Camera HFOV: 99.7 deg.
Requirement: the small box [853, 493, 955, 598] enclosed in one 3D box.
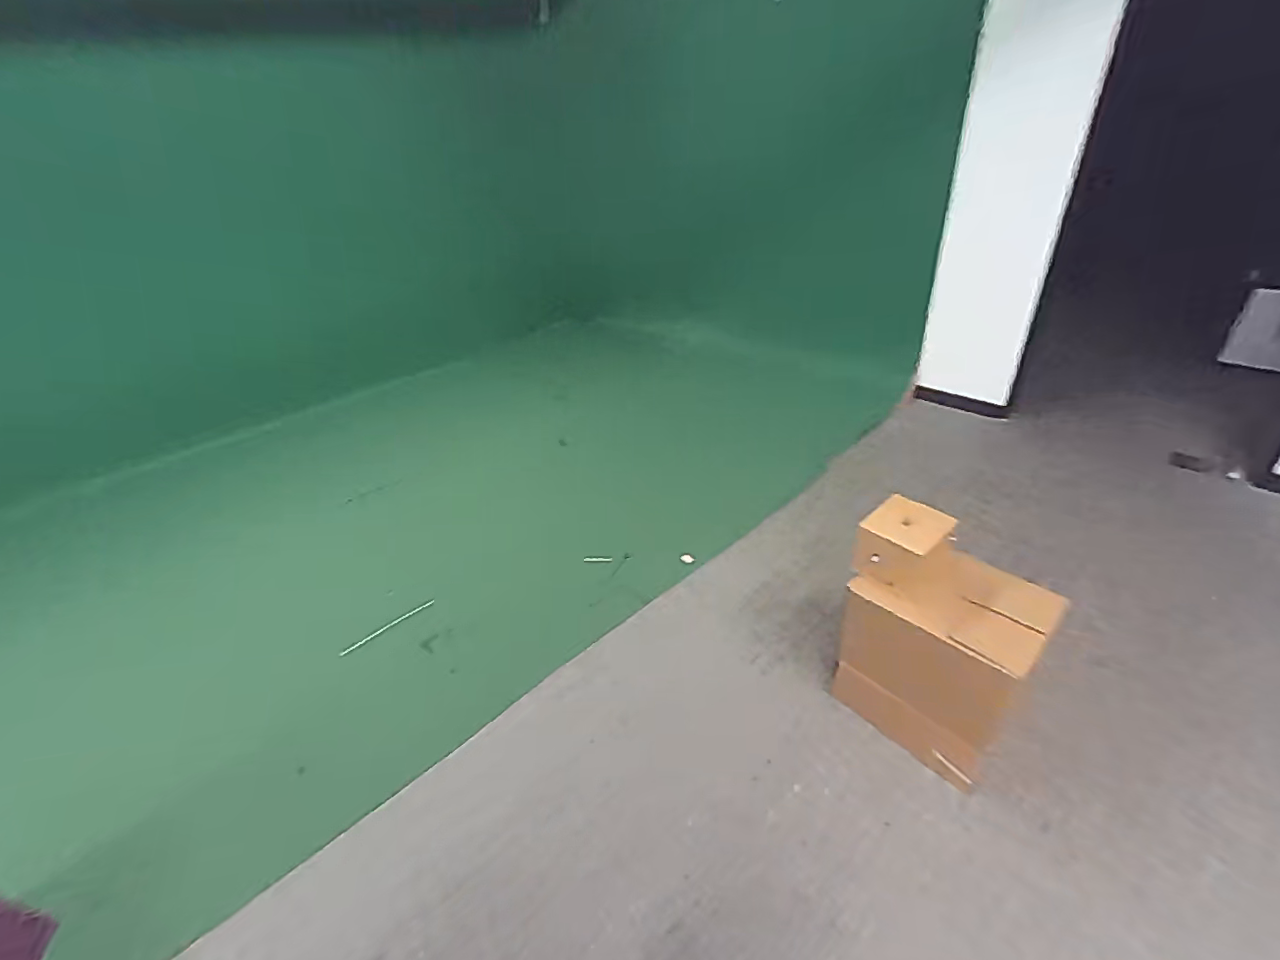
[{"bbox_3d":[0.667,0.168,1.382,0.179,0.176,0.168,-30,42,-29],"label":"small box"}]
